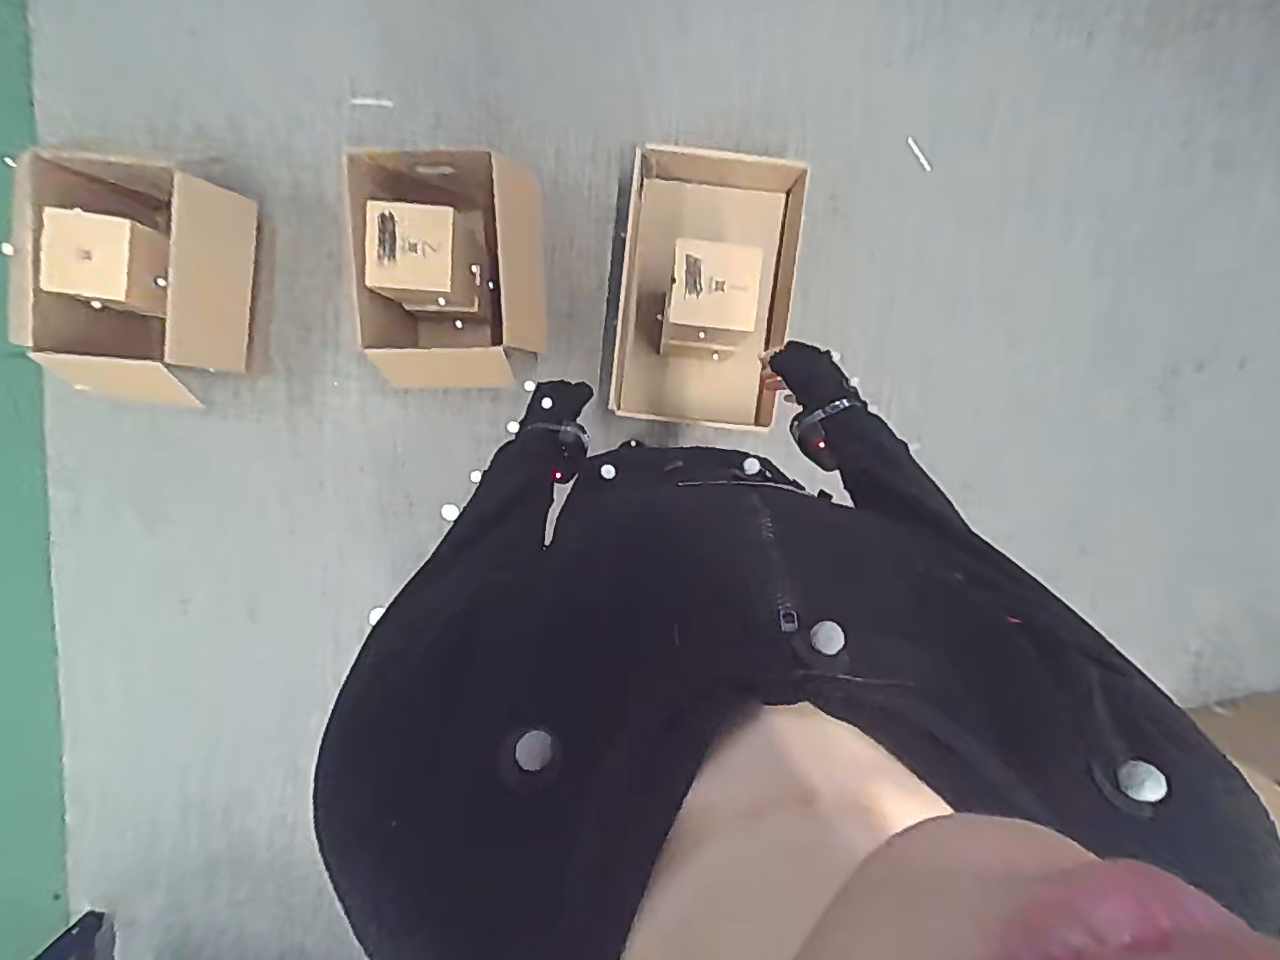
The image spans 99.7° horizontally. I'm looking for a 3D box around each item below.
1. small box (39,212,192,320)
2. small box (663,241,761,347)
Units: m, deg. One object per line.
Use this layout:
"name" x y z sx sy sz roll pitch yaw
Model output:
"small box" -1.123 -0.453 1.171 0.179 0.176 0.168 8 94 -1
"small box" 0.145 -0.387 1.148 0.179 0.176 0.168 5 93 -2
